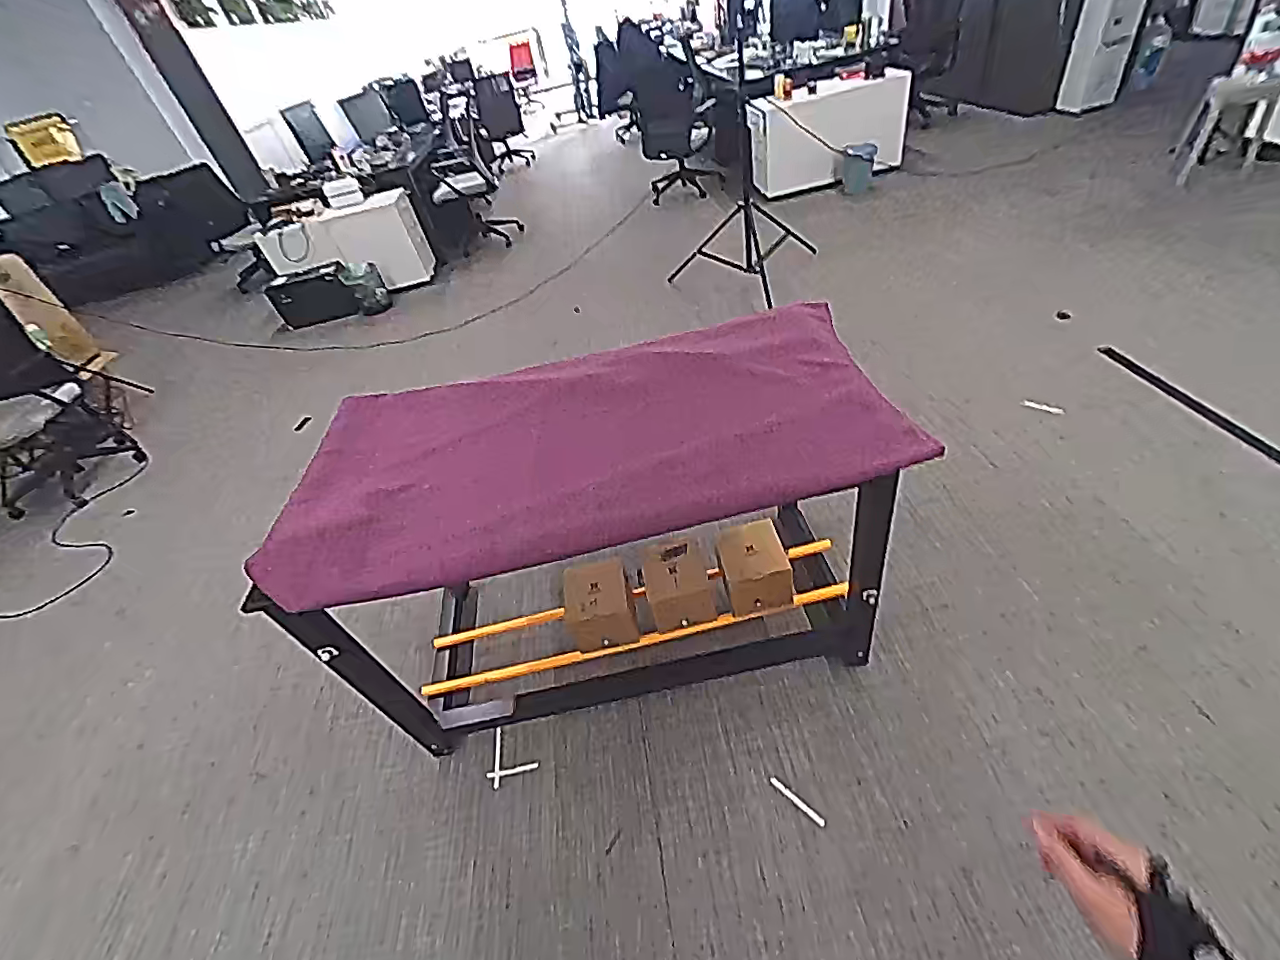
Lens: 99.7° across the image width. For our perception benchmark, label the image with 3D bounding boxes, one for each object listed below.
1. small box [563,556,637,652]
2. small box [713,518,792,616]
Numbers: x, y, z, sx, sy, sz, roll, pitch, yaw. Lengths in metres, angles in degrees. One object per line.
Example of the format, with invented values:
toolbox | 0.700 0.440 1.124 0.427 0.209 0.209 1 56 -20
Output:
small box | -0.108 0.338 1.467 0.168 0.176 0.179 -12 44 2
small box | 0.300 0.236 1.457 0.168 0.176 0.179 -14 44 1
